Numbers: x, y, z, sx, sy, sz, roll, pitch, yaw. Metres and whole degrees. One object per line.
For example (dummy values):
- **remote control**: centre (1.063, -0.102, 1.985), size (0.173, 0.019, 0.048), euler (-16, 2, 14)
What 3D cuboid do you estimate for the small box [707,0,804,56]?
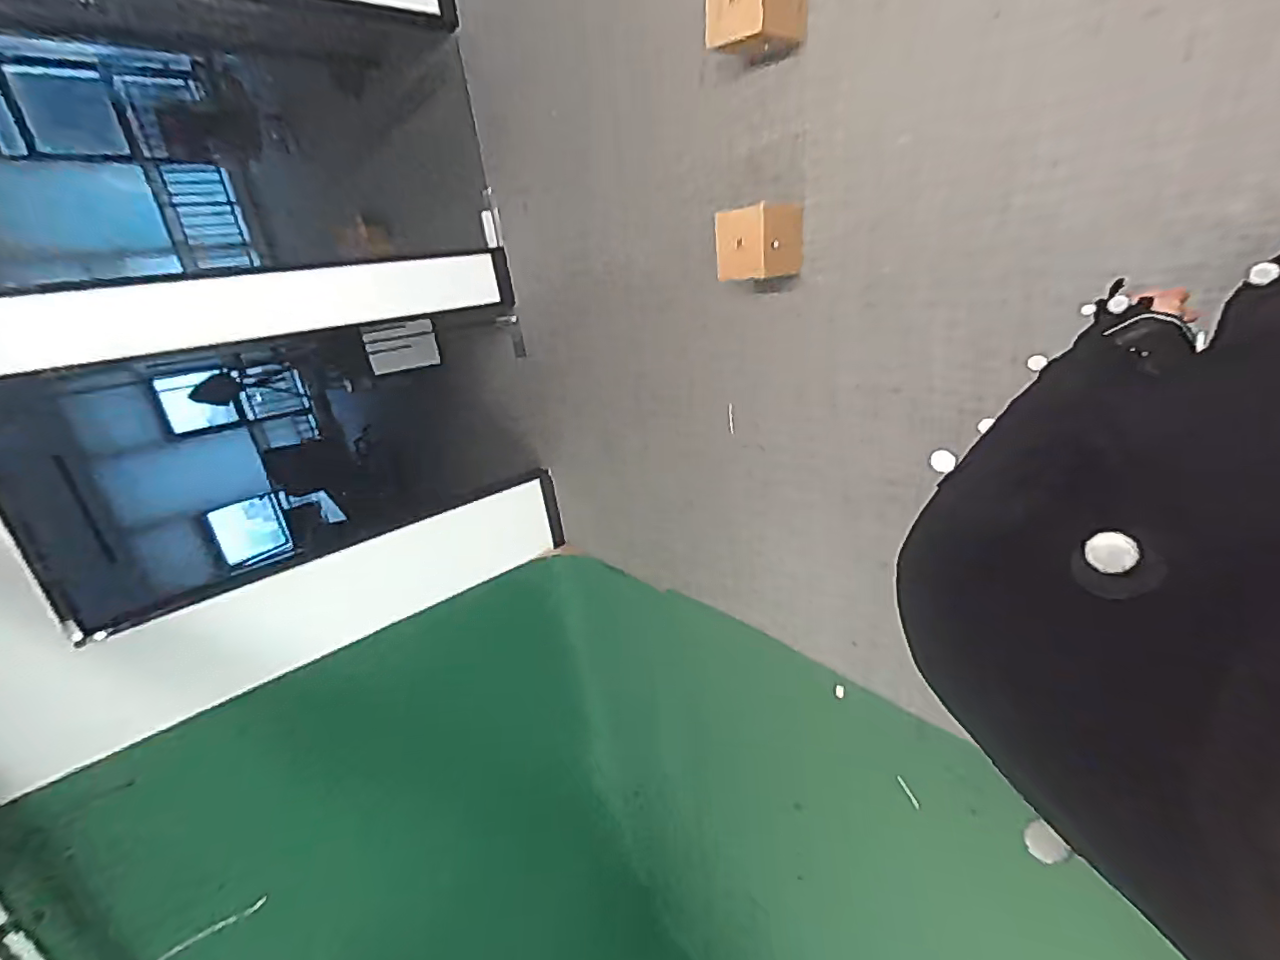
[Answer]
- **small box**: centre (0.279, -1.139, 1.287), size (0.179, 0.176, 0.168), euler (25, 126, 46)

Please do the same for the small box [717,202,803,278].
- **small box**: centre (0.331, -0.659, 1.488), size (0.168, 0.176, 0.179), euler (20, 124, 47)
